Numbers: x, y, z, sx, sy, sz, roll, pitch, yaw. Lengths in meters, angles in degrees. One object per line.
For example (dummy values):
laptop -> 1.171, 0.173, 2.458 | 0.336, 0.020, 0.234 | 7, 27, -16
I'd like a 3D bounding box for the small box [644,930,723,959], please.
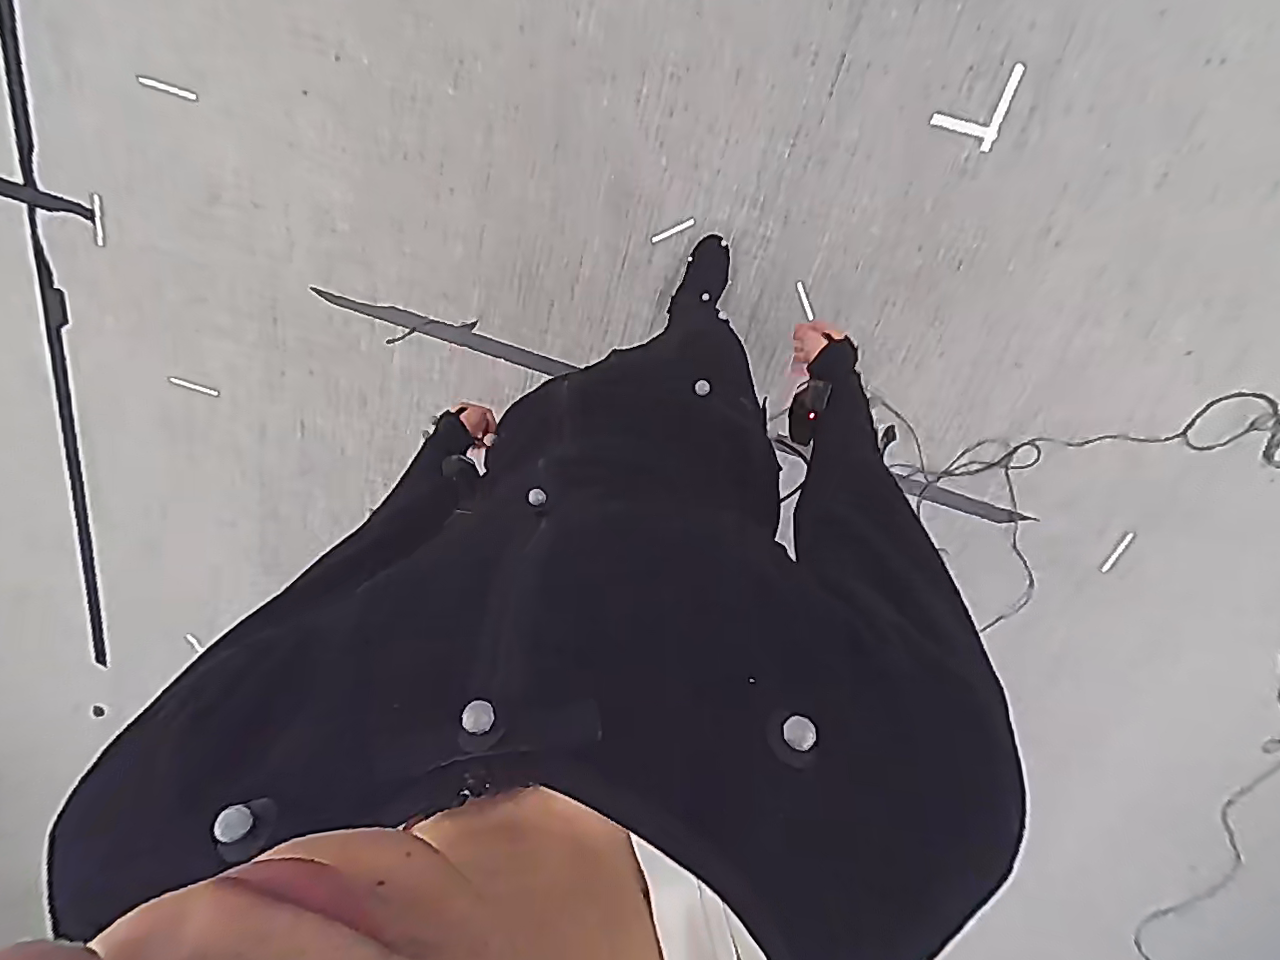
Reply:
small box -> 0.097, 1.200, 1.263 | 0.179, 0.176, 0.168 | 11, 113, 2
